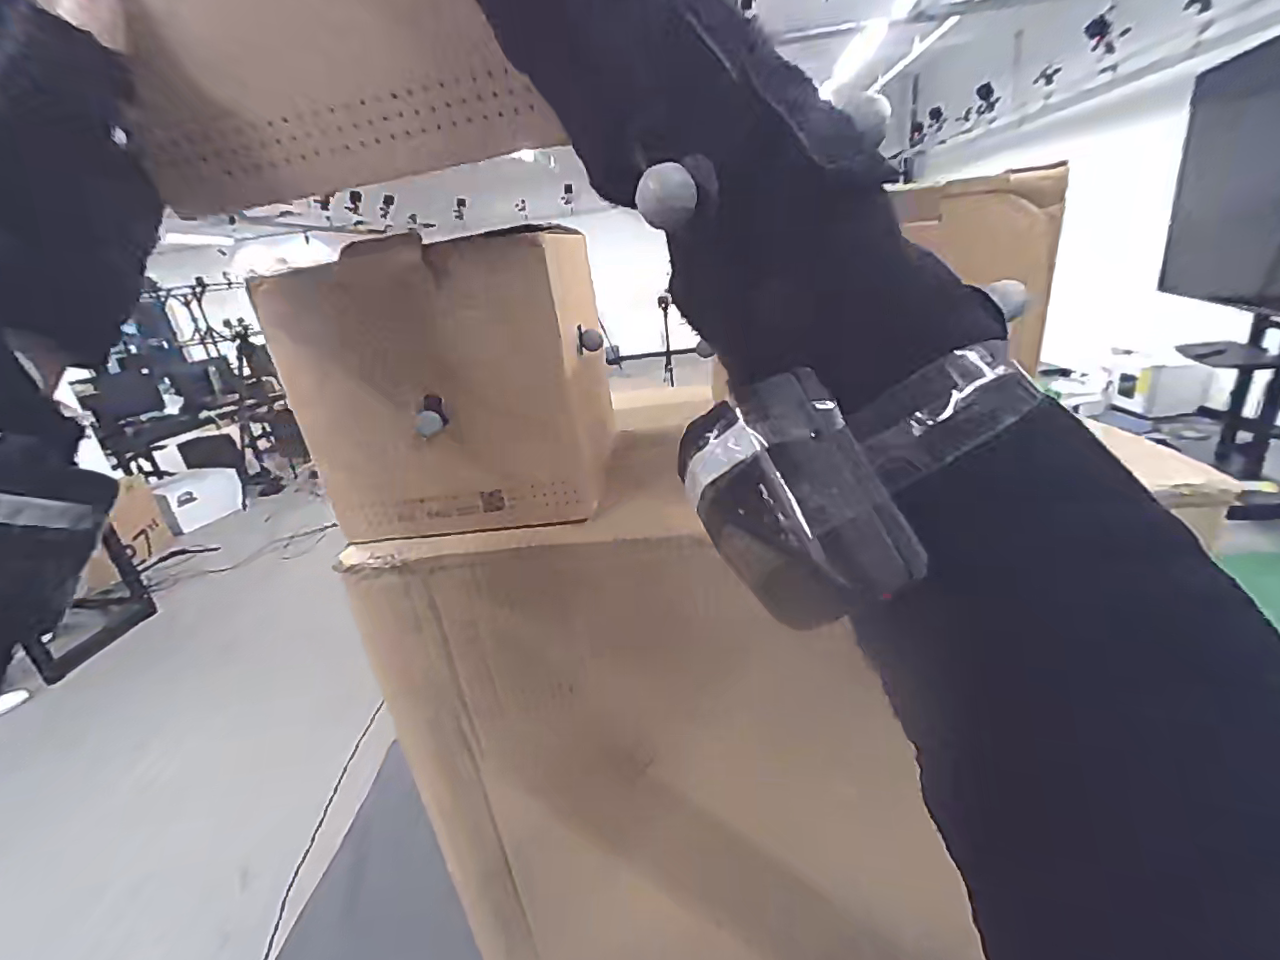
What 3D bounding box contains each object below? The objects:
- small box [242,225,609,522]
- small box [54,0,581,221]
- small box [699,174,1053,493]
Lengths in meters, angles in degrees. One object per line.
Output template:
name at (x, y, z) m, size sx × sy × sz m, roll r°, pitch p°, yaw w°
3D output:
small box at (-0.120, -0.078, 0.389) m, size 0.168 × 0.176 × 0.179 m, roll -5°, pitch 24°, yaw 5°
small box at (-0.130, -0.236, 0.247) m, size 0.179 × 0.176 × 0.168 m, roll -9°, pitch 36°, yaw 4°
small box at (0.129, -0.096, 0.369) m, size 0.168 × 0.176 × 0.179 m, roll -3°, pitch 23°, yaw 4°
